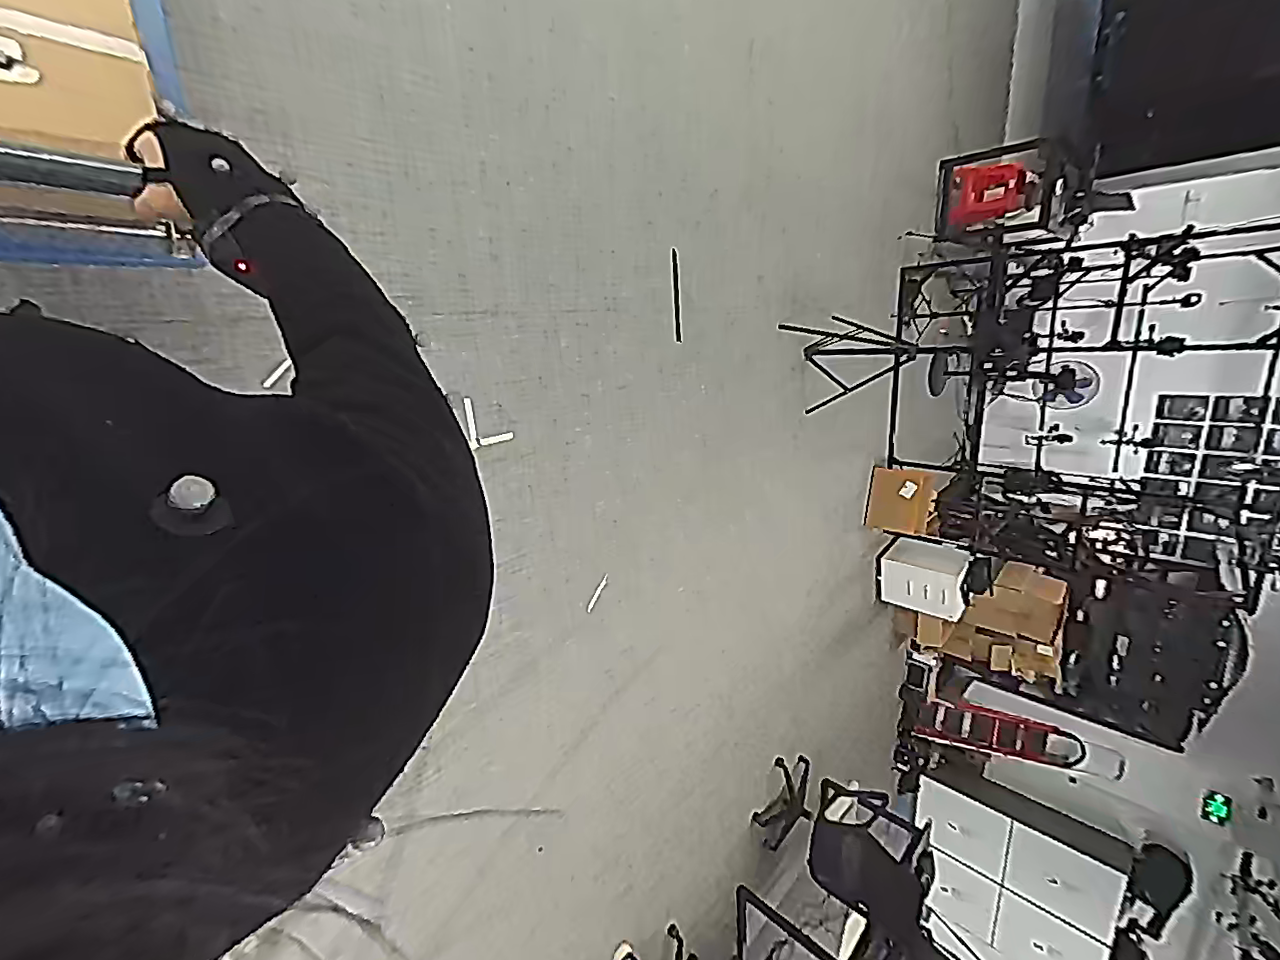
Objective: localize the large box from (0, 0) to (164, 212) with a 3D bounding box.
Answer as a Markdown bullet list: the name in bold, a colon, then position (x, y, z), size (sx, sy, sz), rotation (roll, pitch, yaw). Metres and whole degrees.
- **large box**: position (-0.927, -0.561, 0.690), size (0.408, 0.320, 0.320), rotation (-17, 111, -45)
